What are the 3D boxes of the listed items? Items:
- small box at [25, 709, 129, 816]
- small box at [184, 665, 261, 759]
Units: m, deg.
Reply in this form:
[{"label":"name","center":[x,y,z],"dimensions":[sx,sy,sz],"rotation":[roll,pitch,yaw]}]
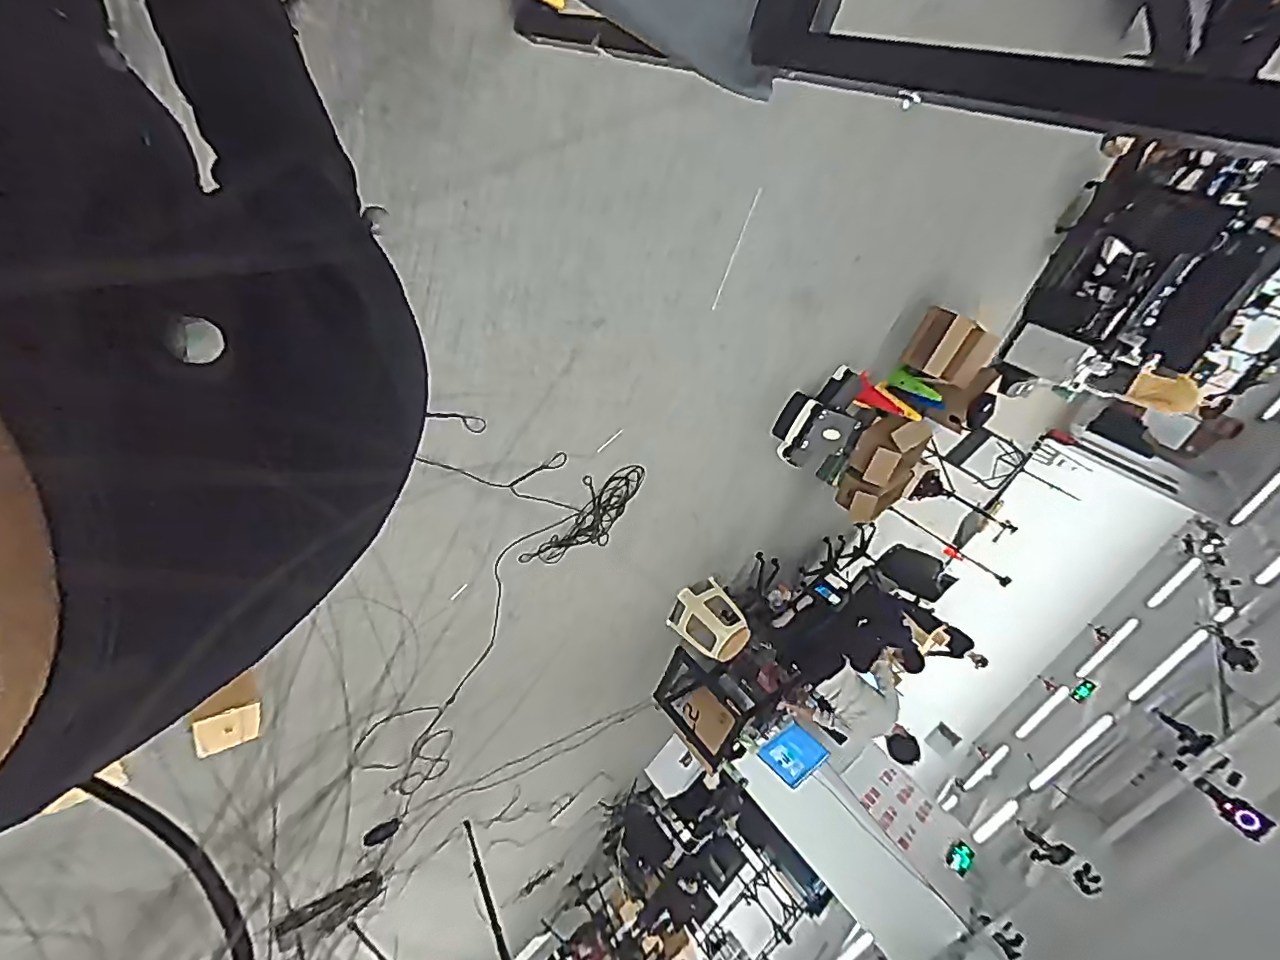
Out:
[{"label":"small box","center":[-1.534,0.757,1.476],"dimensions":[0.168,0.176,0.179],"rotation":[-14,133,-39]},{"label":"small box","center":[-1.306,0.720,1.693],"dimensions":[0.168,0.176,0.179],"rotation":[-11,129,-43]}]
